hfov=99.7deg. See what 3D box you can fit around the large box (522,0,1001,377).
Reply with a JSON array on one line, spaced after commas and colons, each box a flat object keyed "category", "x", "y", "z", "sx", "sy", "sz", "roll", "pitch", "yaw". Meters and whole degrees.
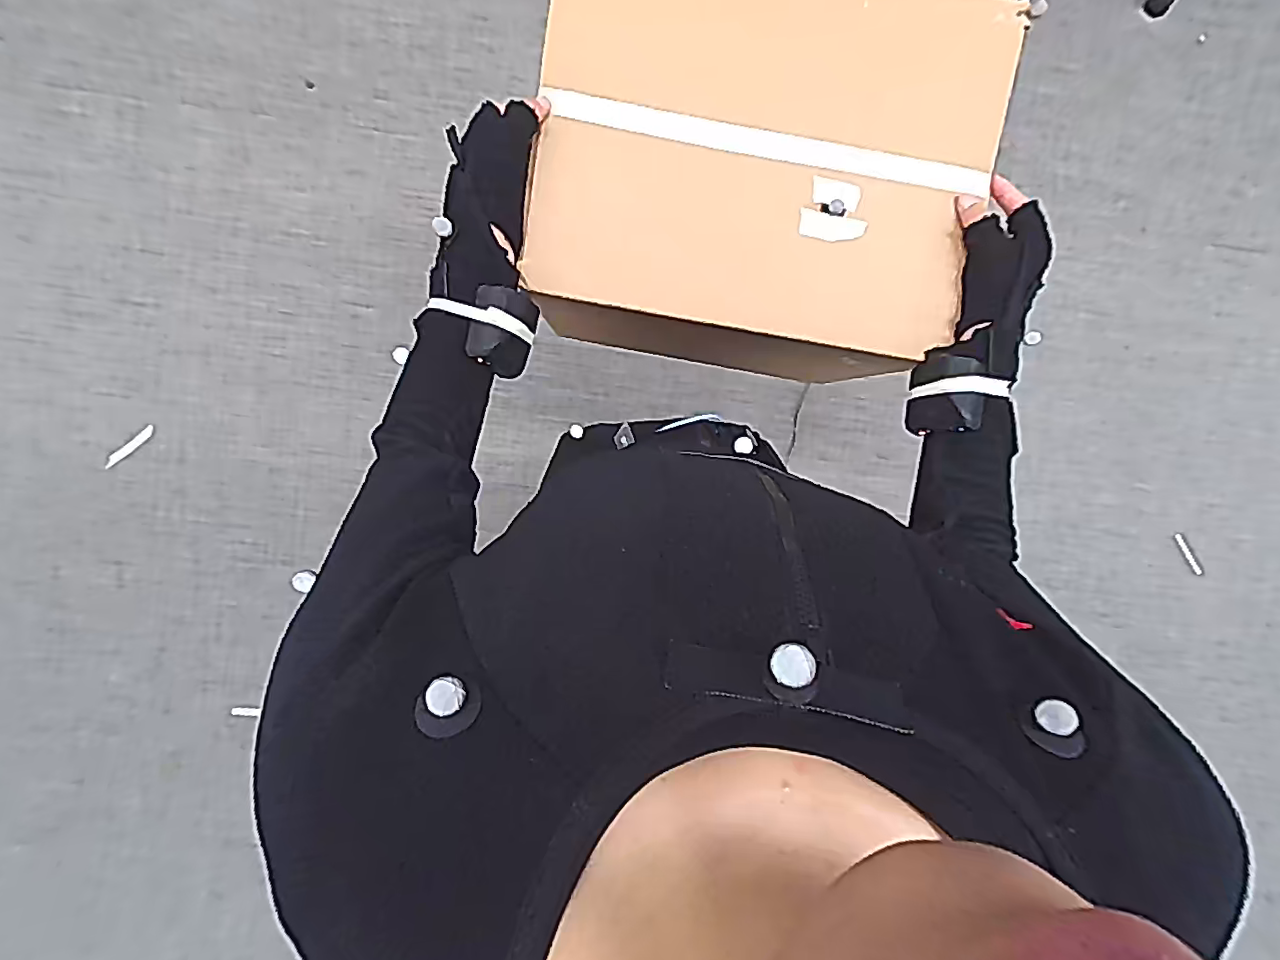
[{"category": "large box", "x": 0.100, "y": -0.314, "z": 0.638, "sx": 0.408, "sy": 0.320, "sz": 0.320, "roll": 9, "pitch": 97, "yaw": -4}]
